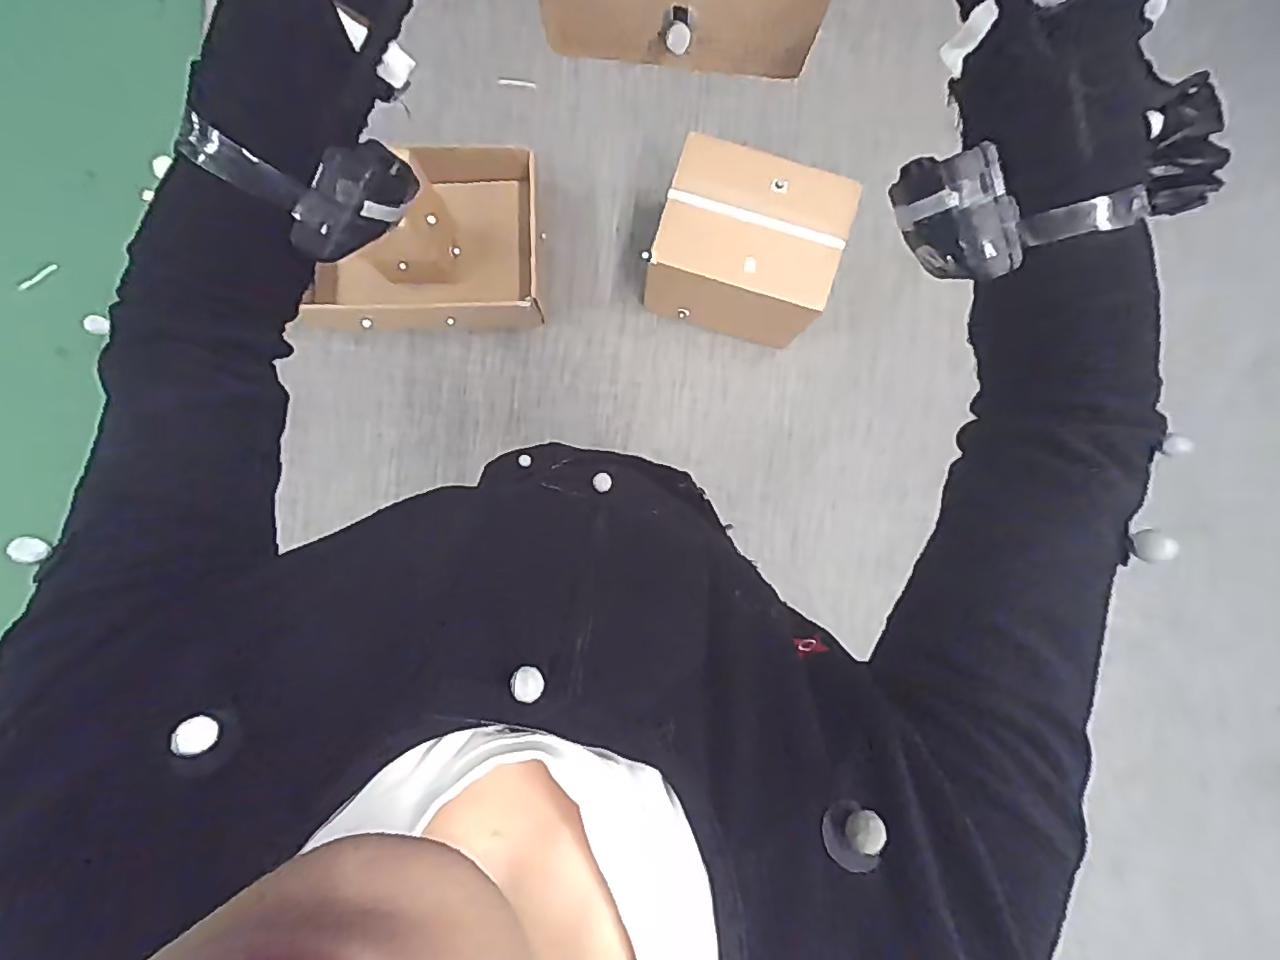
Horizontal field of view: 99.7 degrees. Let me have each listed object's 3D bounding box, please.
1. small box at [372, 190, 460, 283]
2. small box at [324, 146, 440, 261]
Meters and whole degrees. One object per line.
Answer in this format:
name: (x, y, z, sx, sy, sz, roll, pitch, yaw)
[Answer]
small box: (-0.568, -0.609, 1.362, 0.179, 0.176, 0.168, 0, 88, -3)
small box: (-0.563, -0.602, 1.197, 0.179, 0.176, 0.168, 3, 88, -2)
